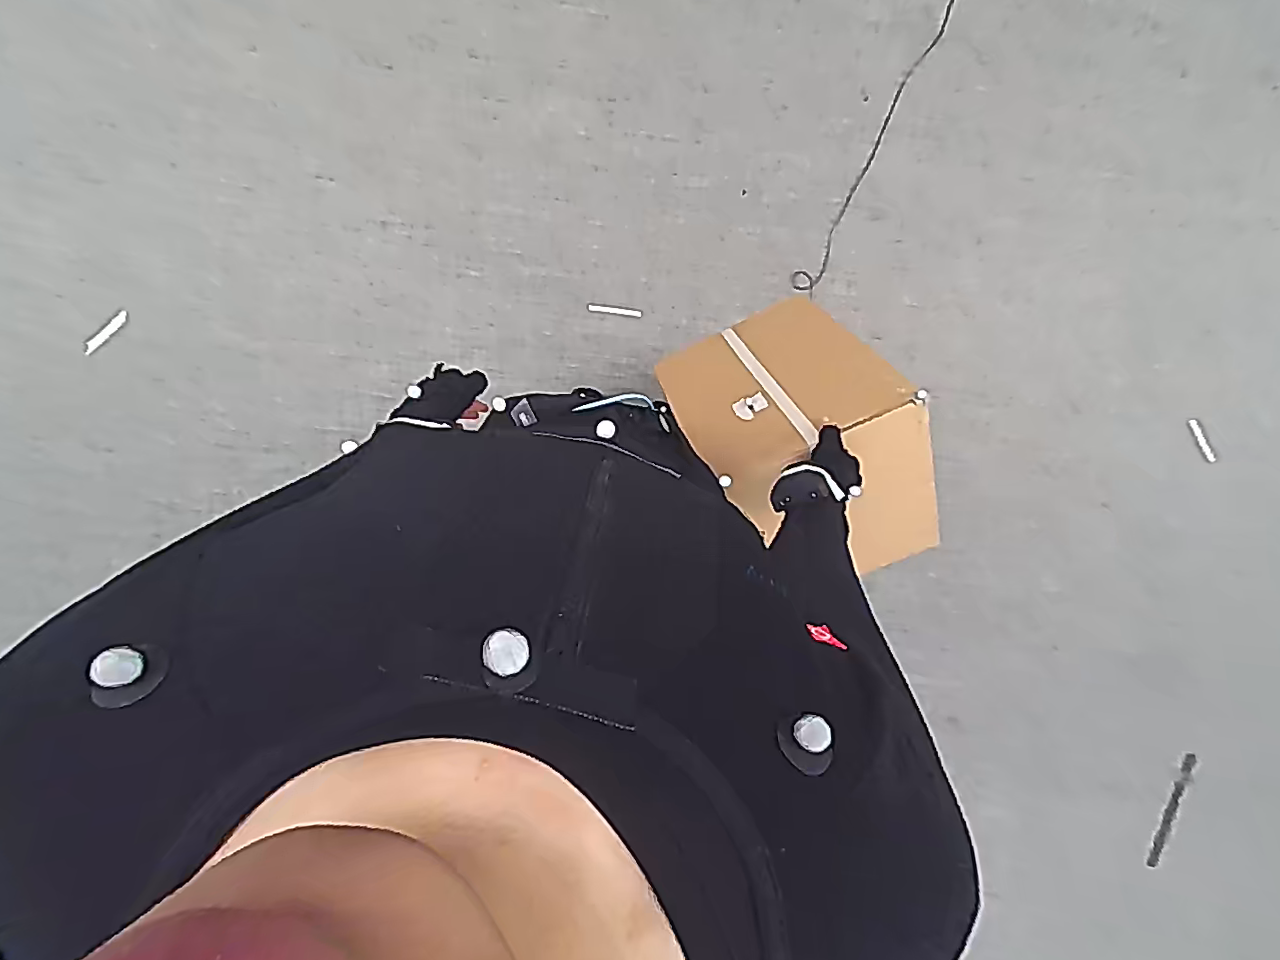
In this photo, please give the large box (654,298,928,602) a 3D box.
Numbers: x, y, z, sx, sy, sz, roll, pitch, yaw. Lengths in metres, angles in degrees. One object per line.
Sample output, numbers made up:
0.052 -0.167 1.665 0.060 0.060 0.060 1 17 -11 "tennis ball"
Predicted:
0.258 -0.065 0.982 0.320 0.408 0.320 -25 129 7 "large box"
